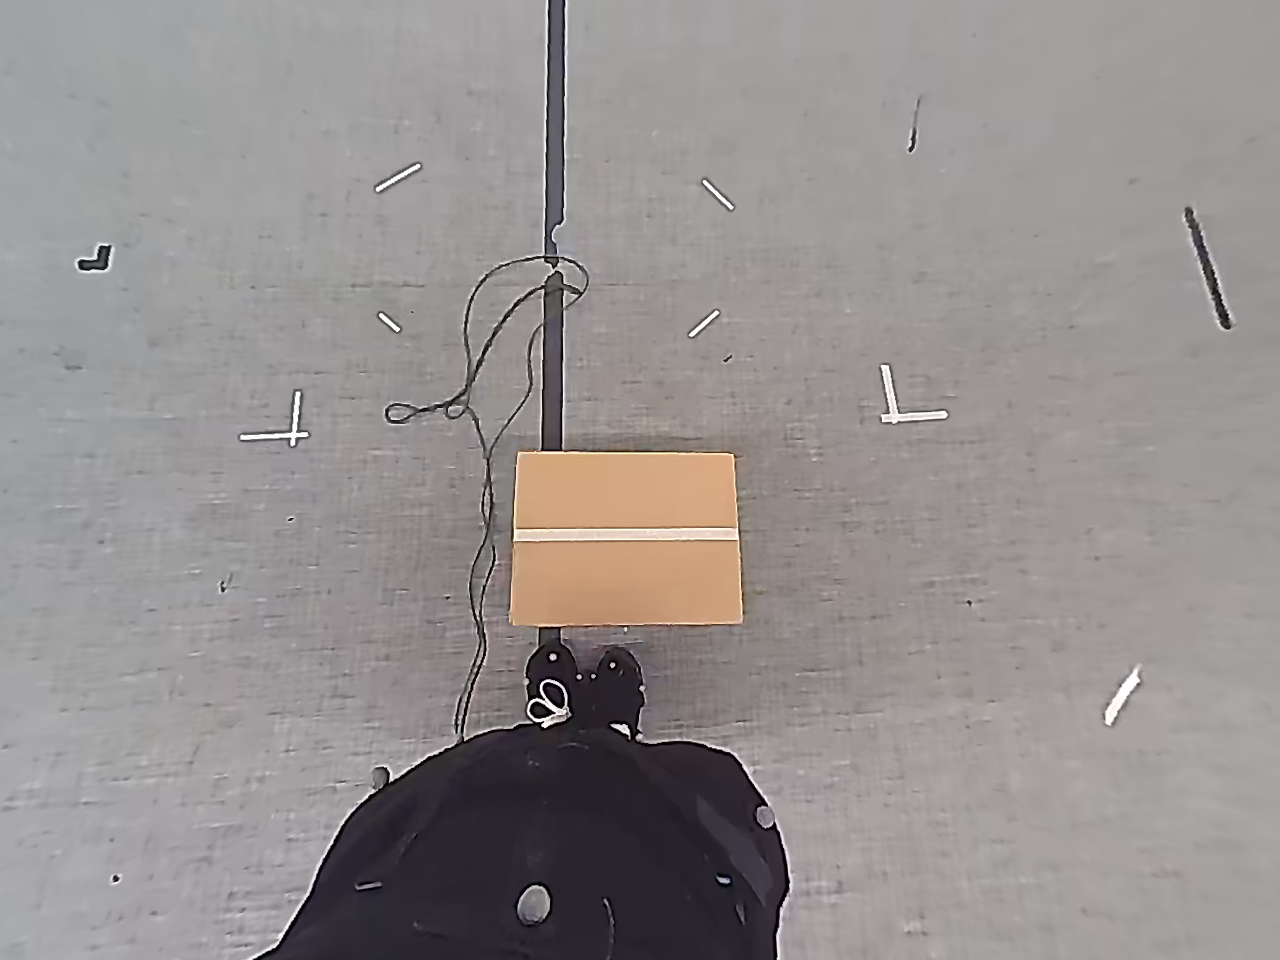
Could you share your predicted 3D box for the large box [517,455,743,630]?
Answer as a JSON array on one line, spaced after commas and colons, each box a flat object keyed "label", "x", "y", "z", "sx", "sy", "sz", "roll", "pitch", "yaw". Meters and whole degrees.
[{"label": "large box", "x": -0.029, "y": 0.139, "z": 1.118, "sx": 0.408, "sy": 0.320, "sz": 0.320, "roll": 0, "pitch": 78, "yaw": -3}]
